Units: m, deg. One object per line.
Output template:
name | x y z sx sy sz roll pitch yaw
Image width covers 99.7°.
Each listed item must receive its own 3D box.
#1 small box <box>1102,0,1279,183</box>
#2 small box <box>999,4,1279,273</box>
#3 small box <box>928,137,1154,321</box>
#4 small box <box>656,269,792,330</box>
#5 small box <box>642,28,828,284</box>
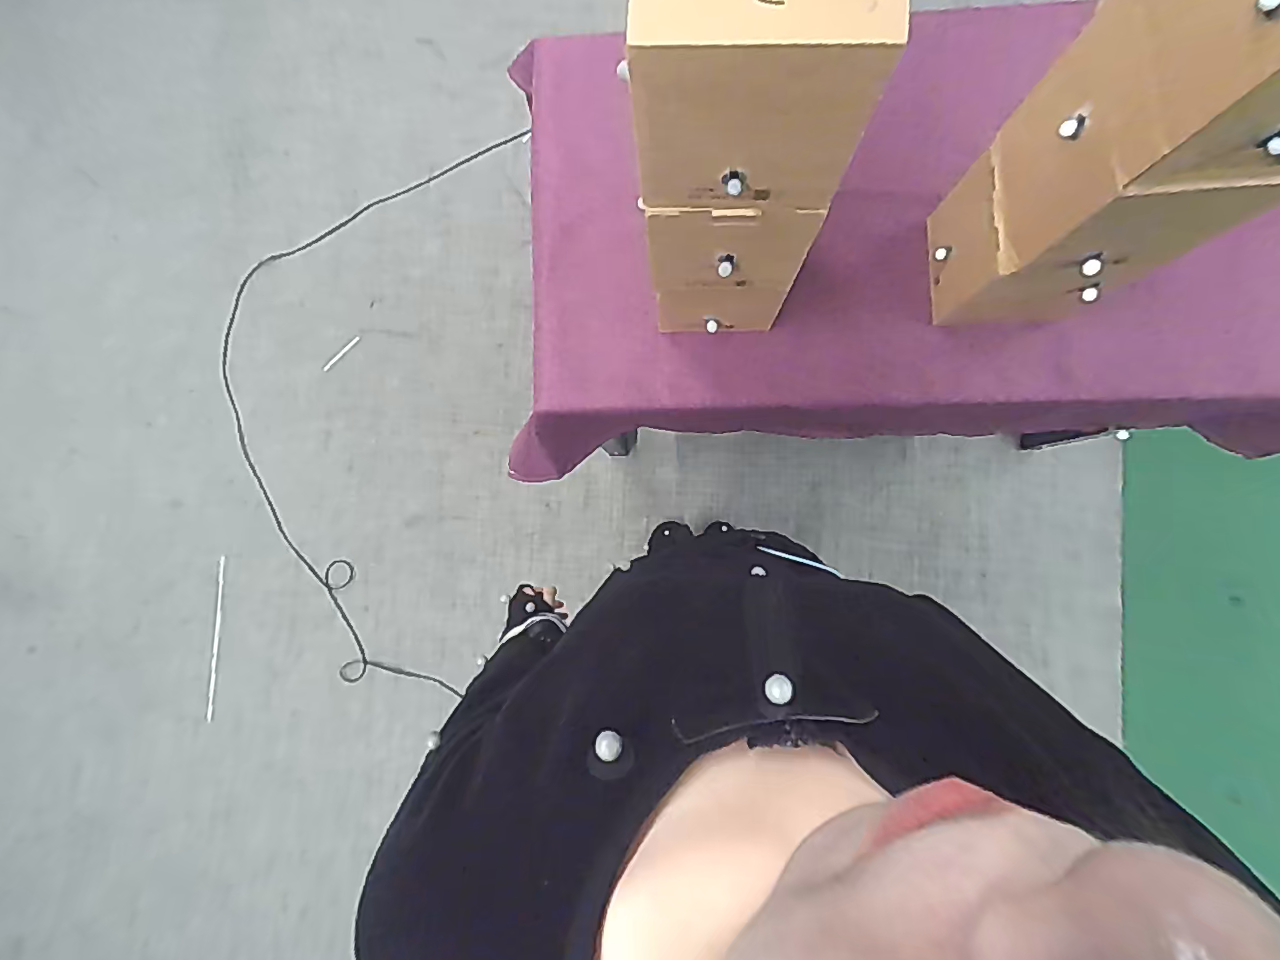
small box | 0.477 -0.349 0.383 0.168 0.176 0.179 -4 87 5
small box | 0.493 -0.332 0.544 0.168 0.176 0.179 -2 87 5
small box | 0.506 -0.318 0.706 0.179 0.176 0.168 -1 85 4
small box | 0.108 -0.318 0.736 0.168 0.176 0.179 1 87 4
small box | 0.093 -0.322 0.573 0.168 0.176 0.179 1 87 4
